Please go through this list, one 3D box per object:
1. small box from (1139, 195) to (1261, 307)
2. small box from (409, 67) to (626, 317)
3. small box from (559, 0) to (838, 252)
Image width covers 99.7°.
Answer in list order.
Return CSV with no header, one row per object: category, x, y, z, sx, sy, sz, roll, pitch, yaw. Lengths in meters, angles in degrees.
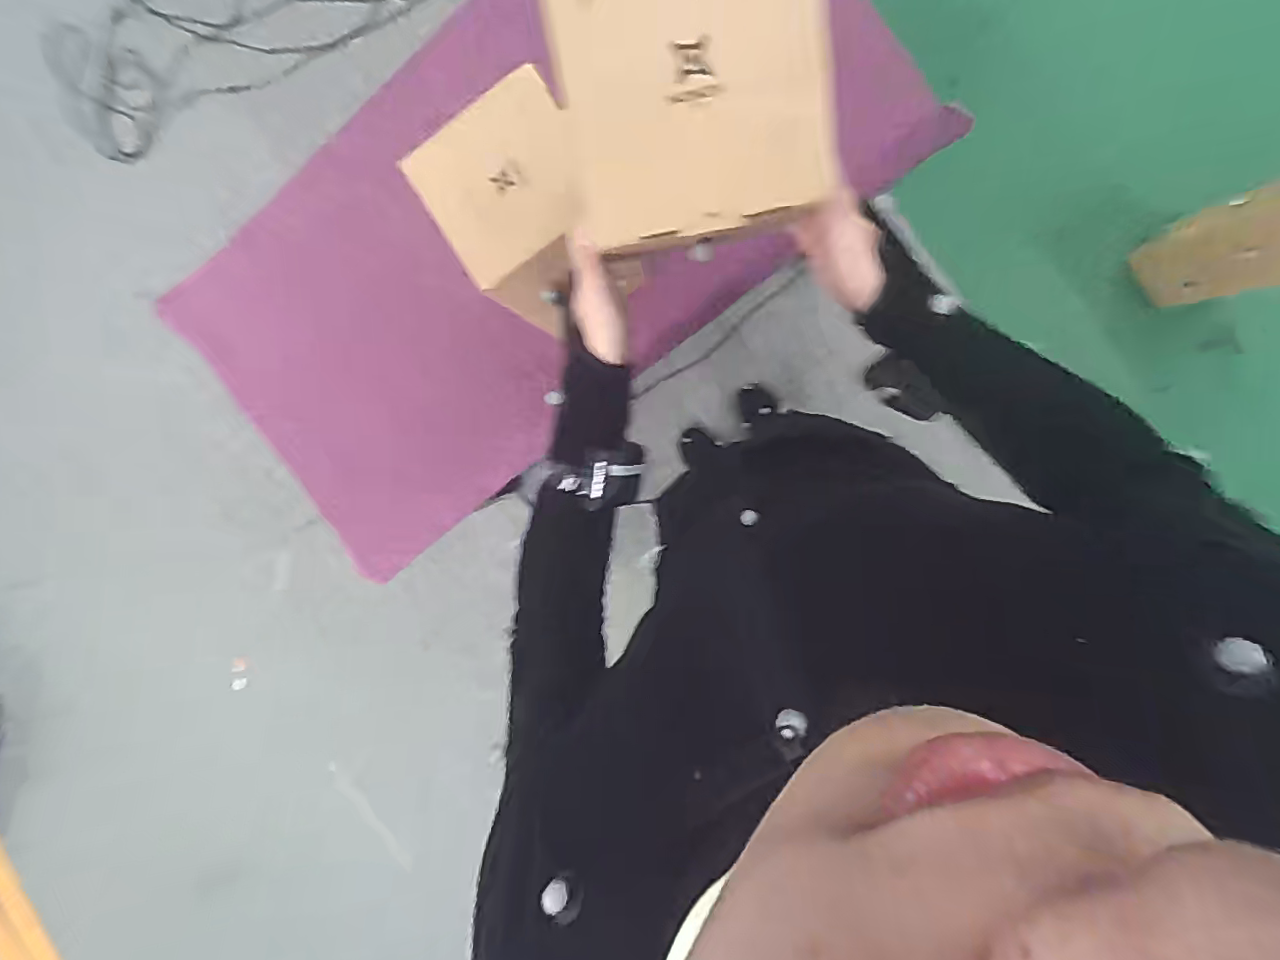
small box,1.401,-0.545,1.323,0.168,0.176,0.179,-36,90,9
small box,-0.126,-0.322,0.648,0.179,0.176,0.168,-32,91,9
small box,0.043,-0.279,0.414,0.168,0.176,0.179,-8,109,5
